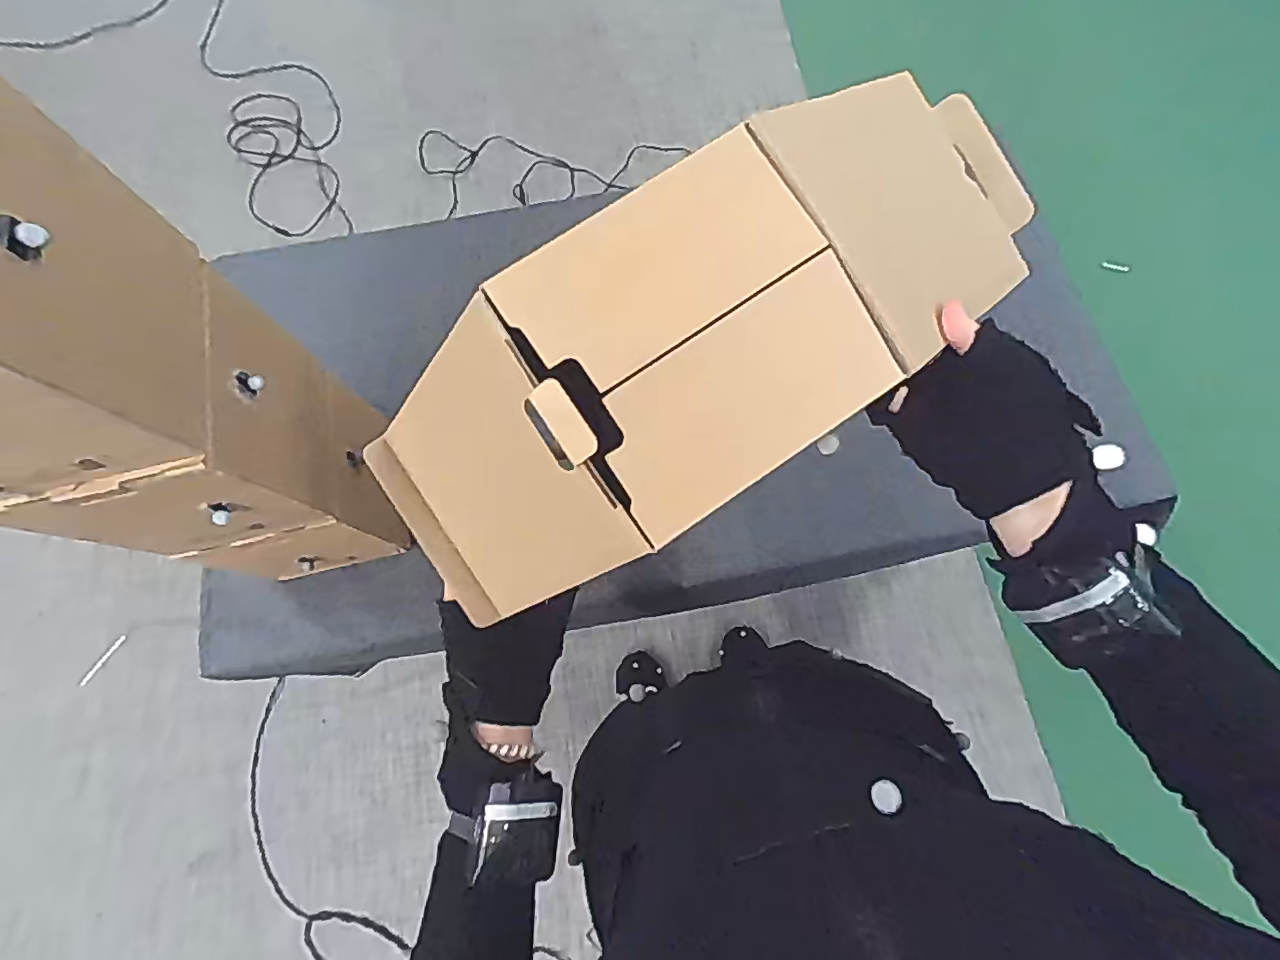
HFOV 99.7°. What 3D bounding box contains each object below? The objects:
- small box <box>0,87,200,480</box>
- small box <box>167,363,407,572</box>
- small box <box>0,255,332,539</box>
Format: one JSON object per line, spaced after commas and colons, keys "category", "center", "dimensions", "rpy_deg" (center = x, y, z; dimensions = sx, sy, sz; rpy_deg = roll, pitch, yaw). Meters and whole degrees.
{"category": "small box", "center": [-0.396, -0.107, 0.310], "dimensions": [0.168, 0.176, 0.179], "rpy_deg": [-14, 74, -4]}
{"category": "small box", "center": [-0.388, -0.005, 0.620], "dimensions": [0.168, 0.176, 0.179], "rpy_deg": [-13, 74, -3]}
{"category": "small box", "center": [-0.391, -0.053, 0.465], "dimensions": [0.168, 0.176, 0.179], "rpy_deg": [-12, 74, -3]}
